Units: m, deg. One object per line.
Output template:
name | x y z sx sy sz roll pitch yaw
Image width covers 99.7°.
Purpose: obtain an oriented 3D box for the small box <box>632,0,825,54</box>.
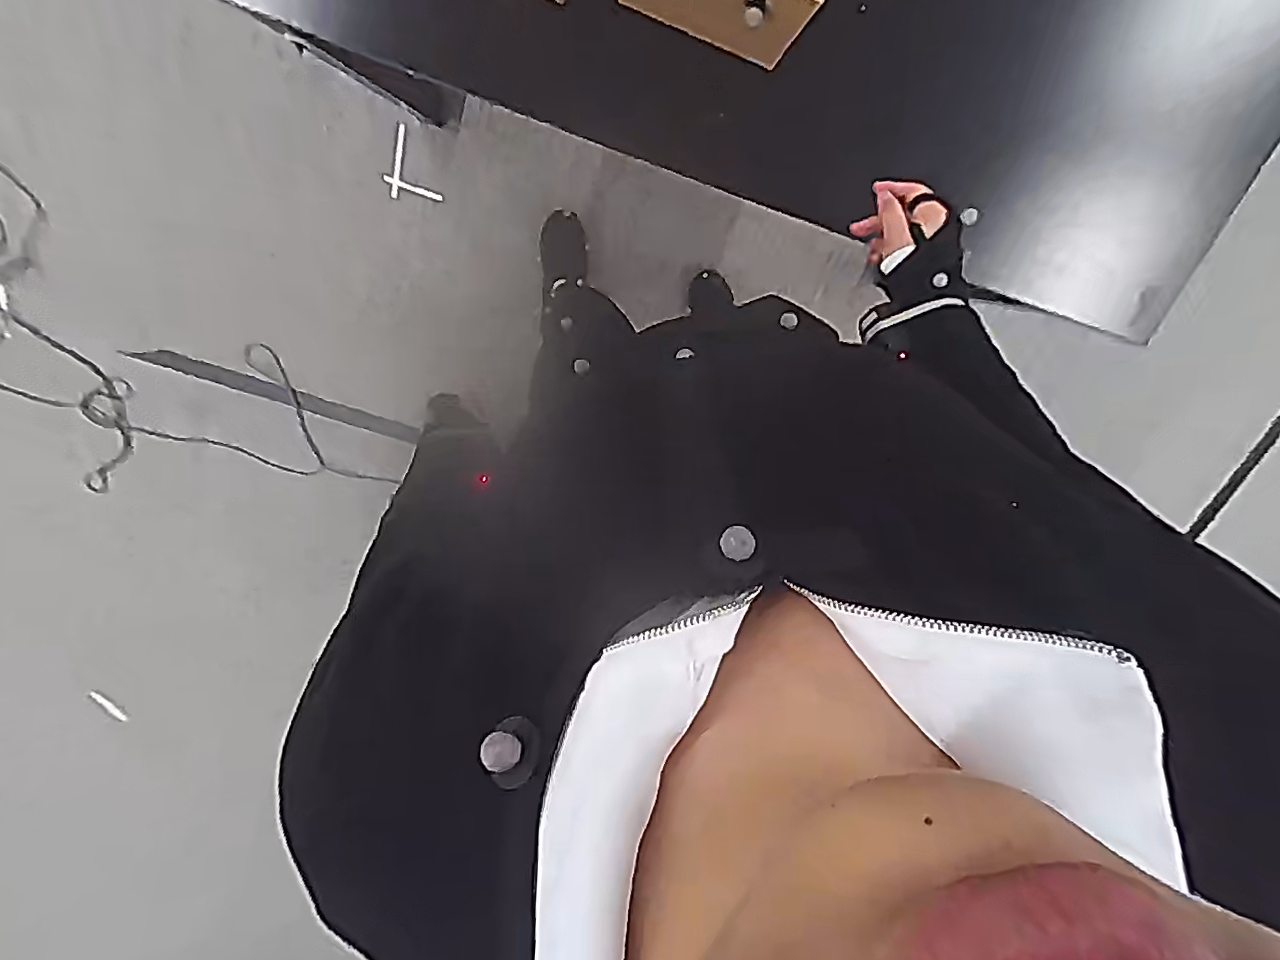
small box | 0.088 -0.499 0.452 0.179 0.176 0.168 18 111 -8
